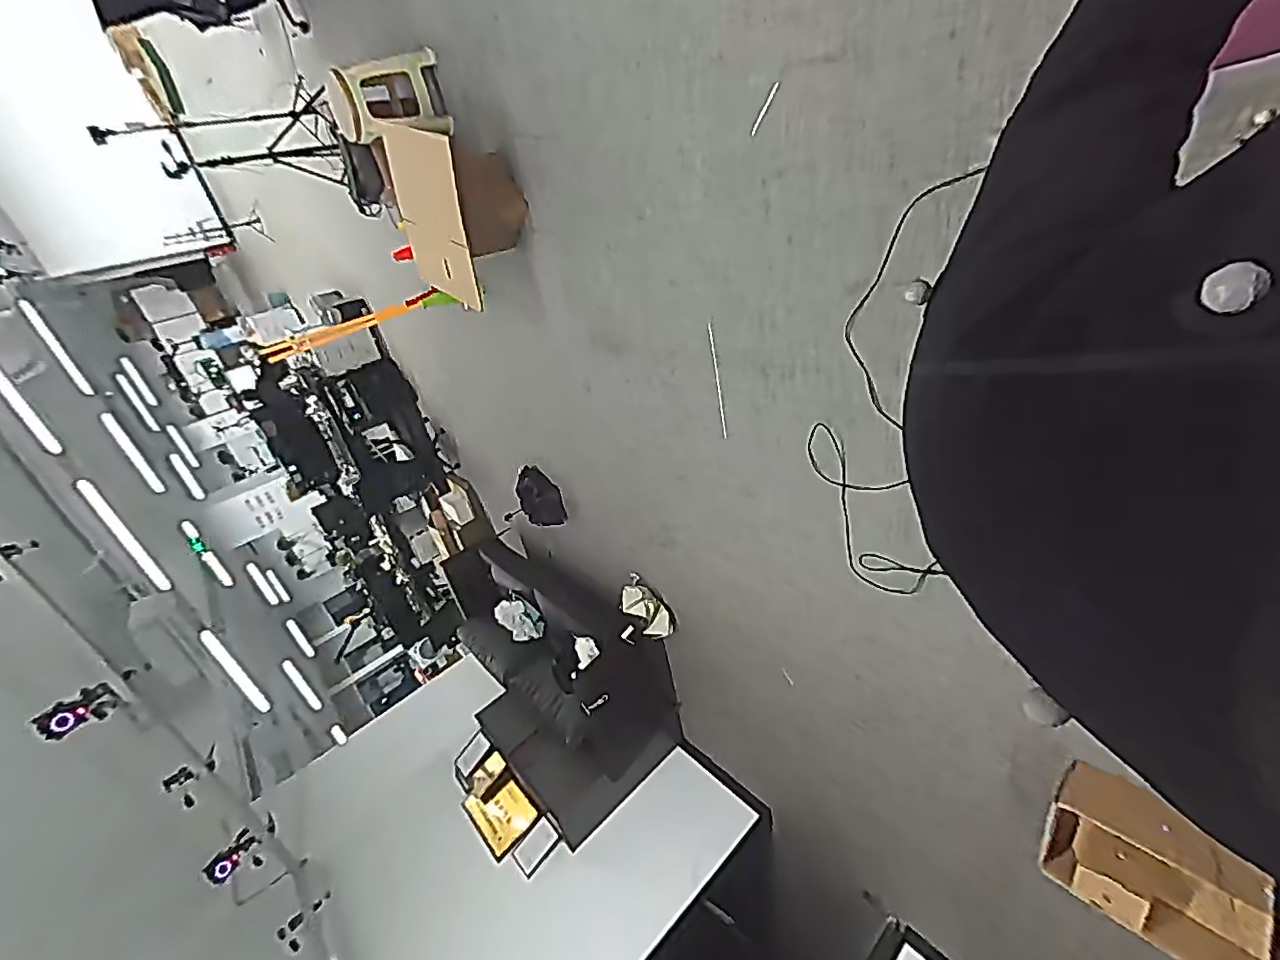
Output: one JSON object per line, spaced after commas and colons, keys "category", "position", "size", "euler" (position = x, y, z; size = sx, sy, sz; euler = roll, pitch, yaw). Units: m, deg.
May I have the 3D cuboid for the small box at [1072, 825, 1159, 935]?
{"category": "small box", "position": [1.442, 1.202, 1.639], "size": [0.168, 0.176, 0.179], "euler": [13, 128, 47]}
